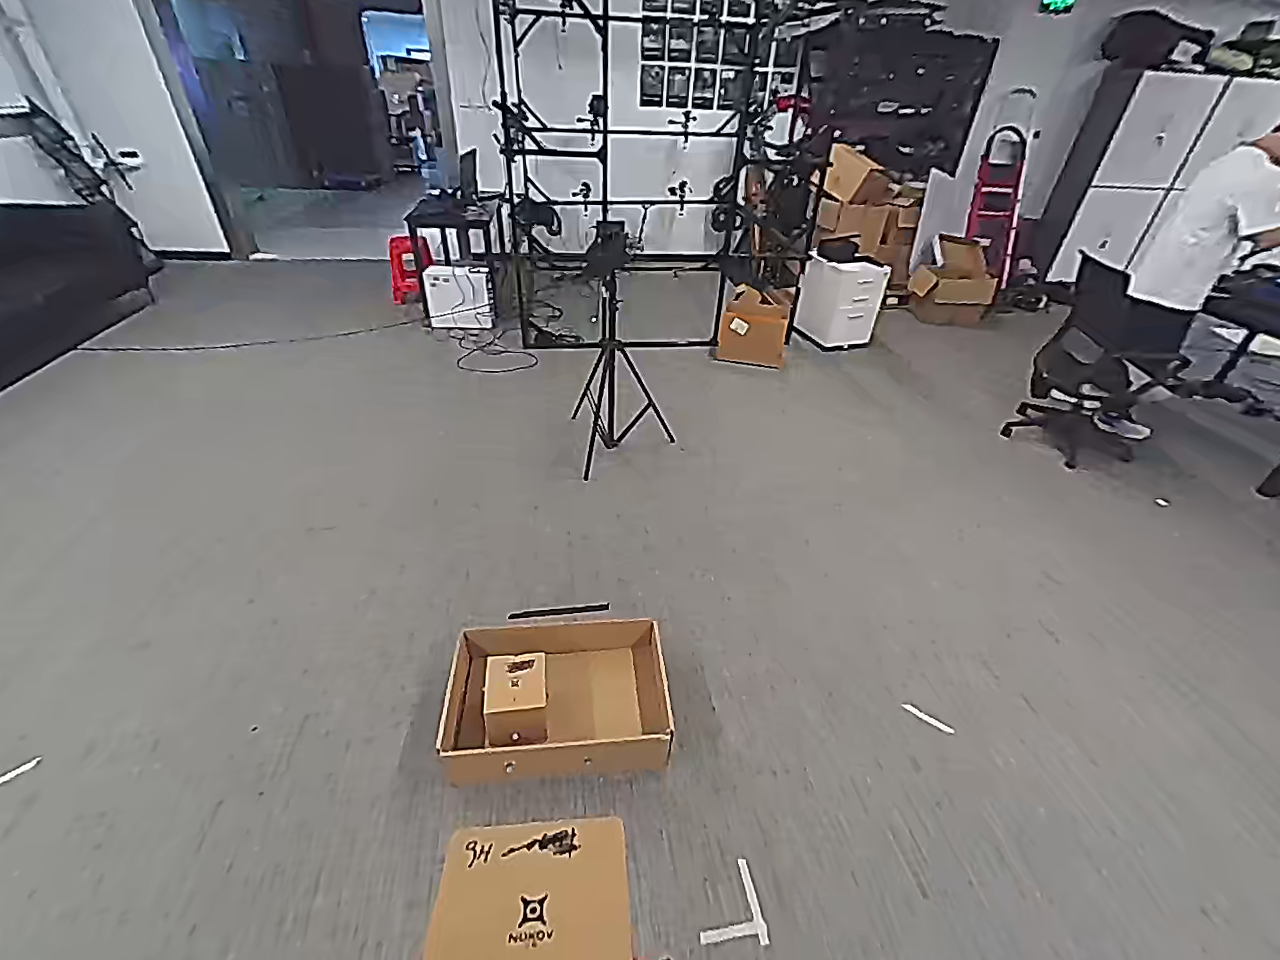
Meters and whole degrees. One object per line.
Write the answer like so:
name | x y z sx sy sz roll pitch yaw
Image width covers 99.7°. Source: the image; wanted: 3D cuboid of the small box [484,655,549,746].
small box | -0.347 0.628 1.544 0.168 0.176 0.179 -3 36 -9

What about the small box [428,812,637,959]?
small box | -0.086 0.434 0.473 0.168 0.176 0.179 -1 23 -6
